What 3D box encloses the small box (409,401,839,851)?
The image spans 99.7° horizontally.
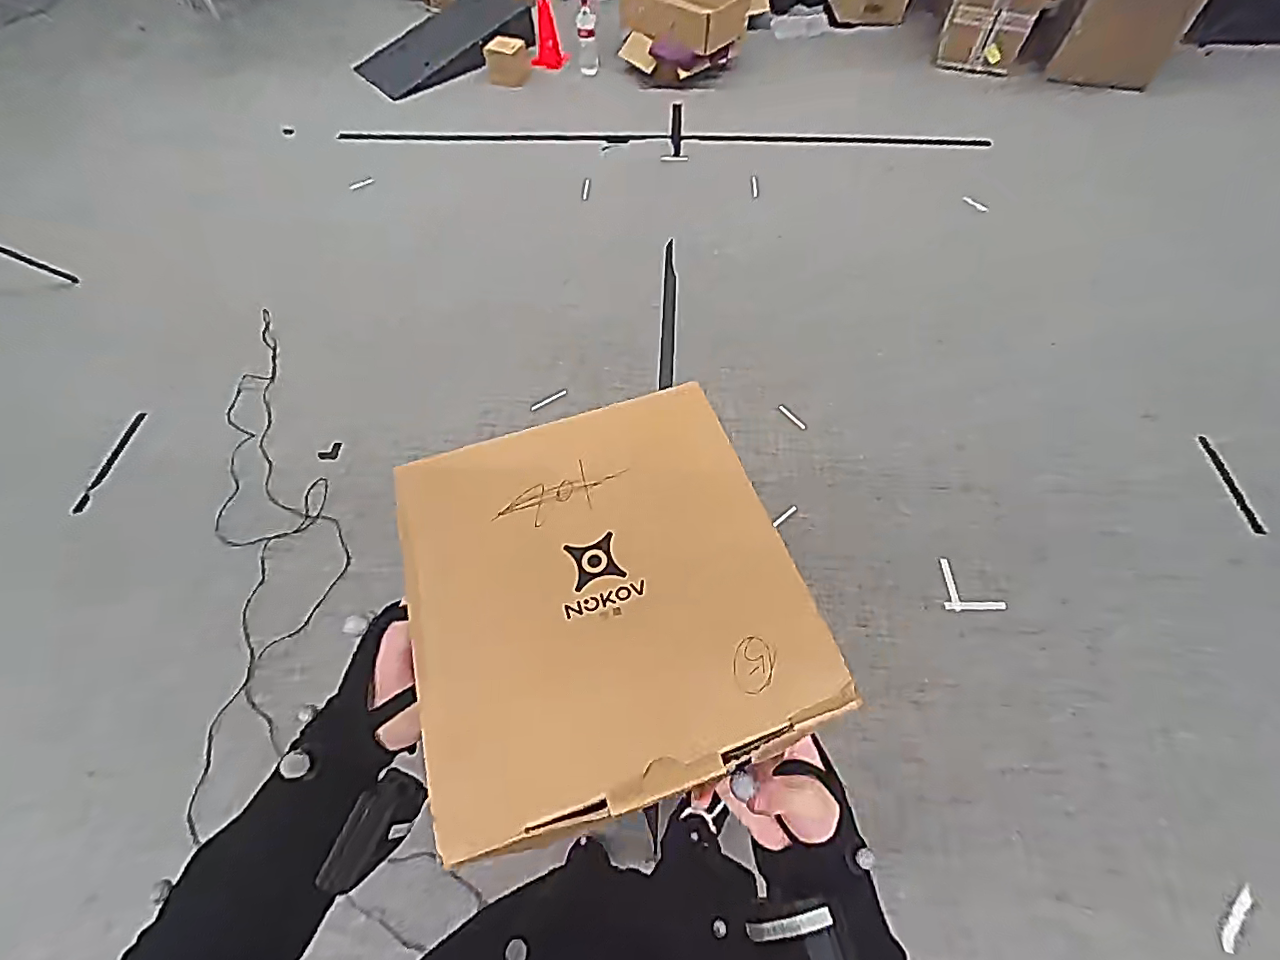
[{"bbox_3d":[-0.017,0.088,0.321,0.168,0.176,0.179,-17,58,-9],"label":"small box"}]
